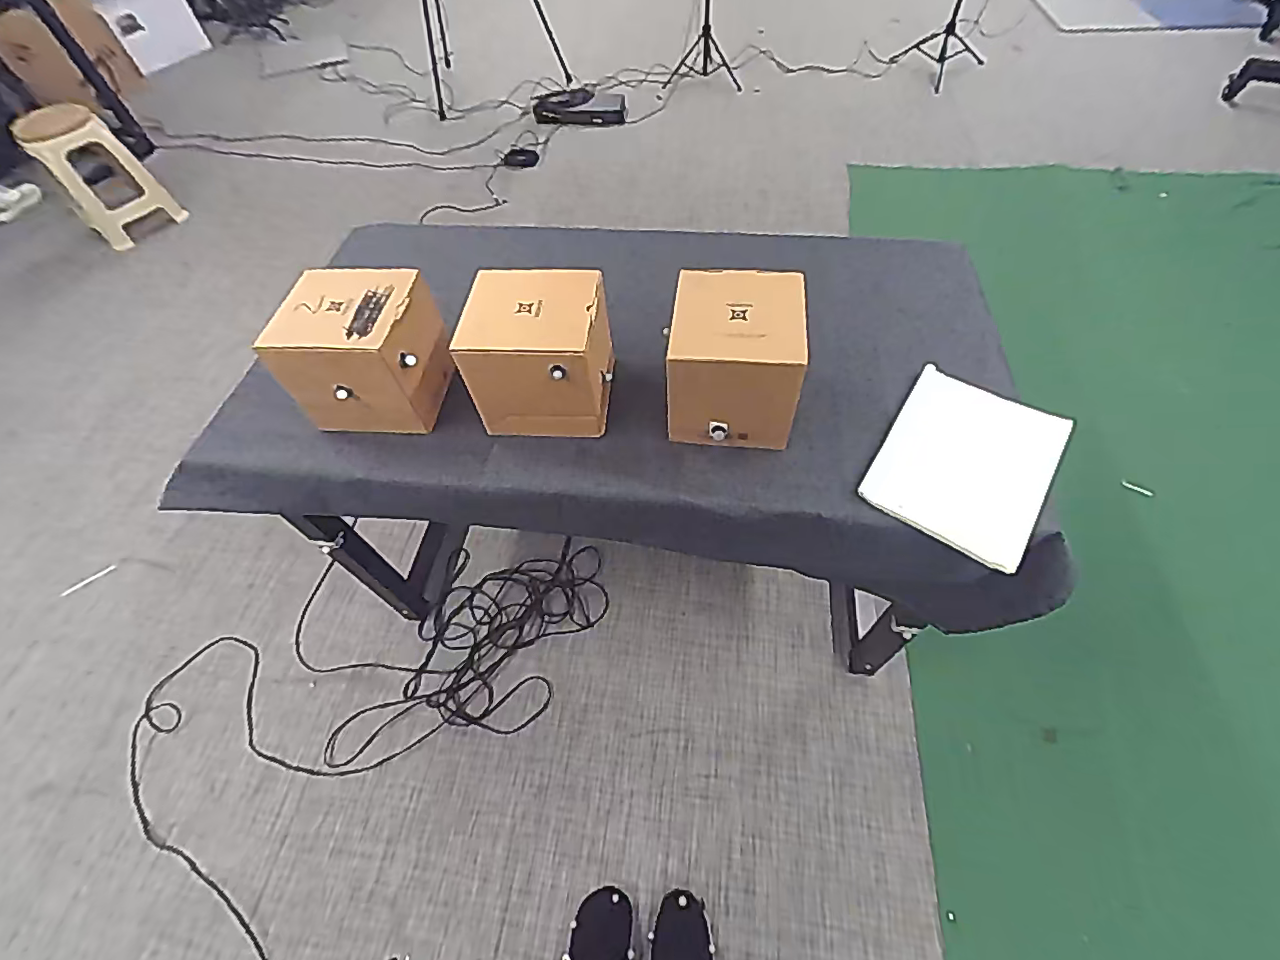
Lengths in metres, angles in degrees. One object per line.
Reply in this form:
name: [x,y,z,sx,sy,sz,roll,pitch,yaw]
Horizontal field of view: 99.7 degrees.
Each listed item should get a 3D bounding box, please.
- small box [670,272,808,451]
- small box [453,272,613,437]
small box: [0.131,-0.162,0.747,0.168,0.176,0.179,3,57,8]
small box: [-0.138,-0.175,0.776,0.179,0.176,0.168,2,55,4]
